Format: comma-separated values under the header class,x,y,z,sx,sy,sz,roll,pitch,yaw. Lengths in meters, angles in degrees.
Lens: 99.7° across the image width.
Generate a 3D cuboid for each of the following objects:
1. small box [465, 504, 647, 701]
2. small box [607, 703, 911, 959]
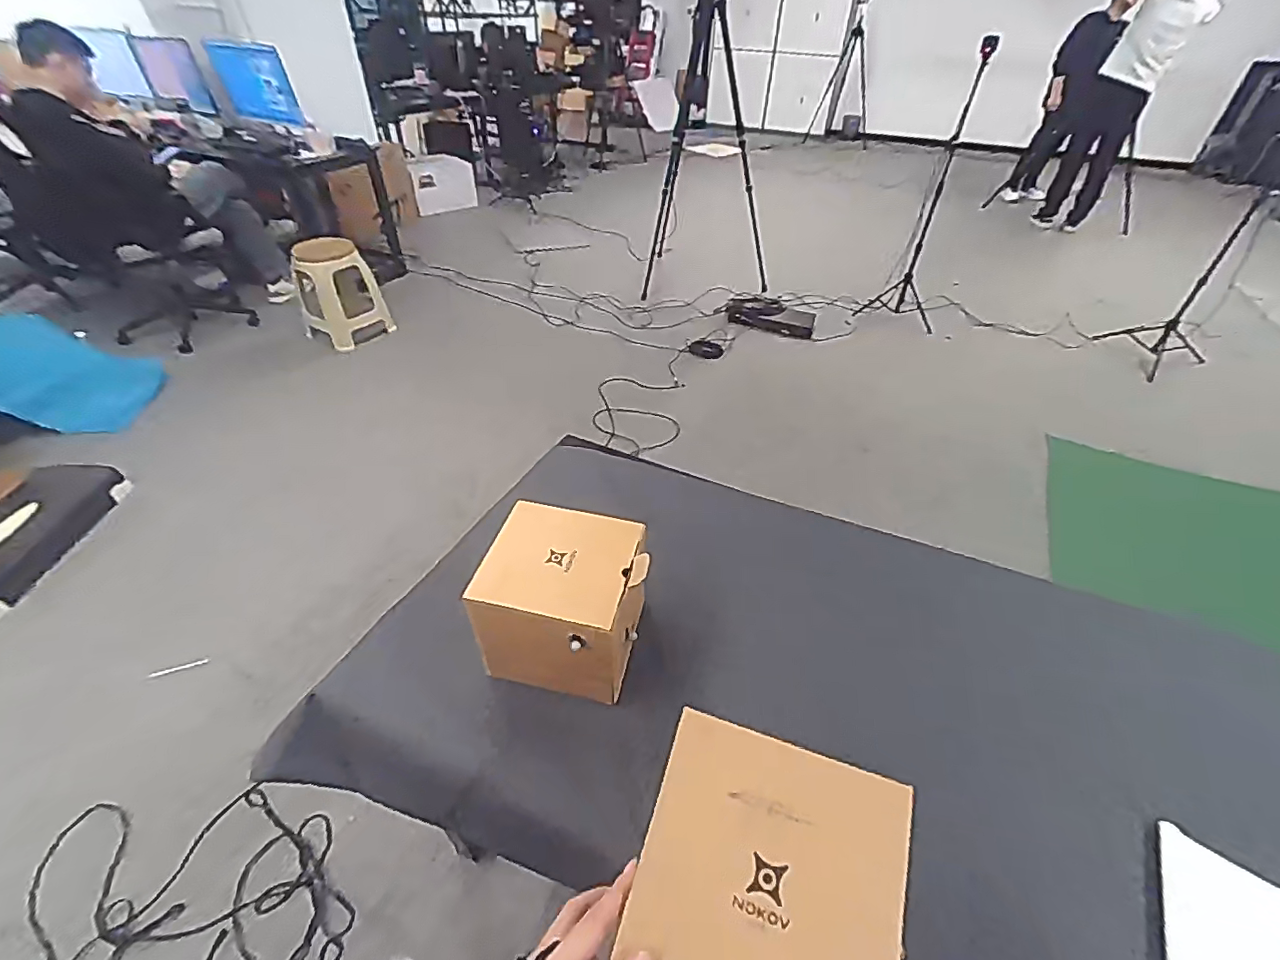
class,x,y,z,sx,sy,sz,roll,pitch,yaw
small box,-0.096,0.157,0.695,0.179,0.176,0.168,10,41,8
small box,0.087,0.300,0.412,0.168,0.176,0.179,14,58,13
